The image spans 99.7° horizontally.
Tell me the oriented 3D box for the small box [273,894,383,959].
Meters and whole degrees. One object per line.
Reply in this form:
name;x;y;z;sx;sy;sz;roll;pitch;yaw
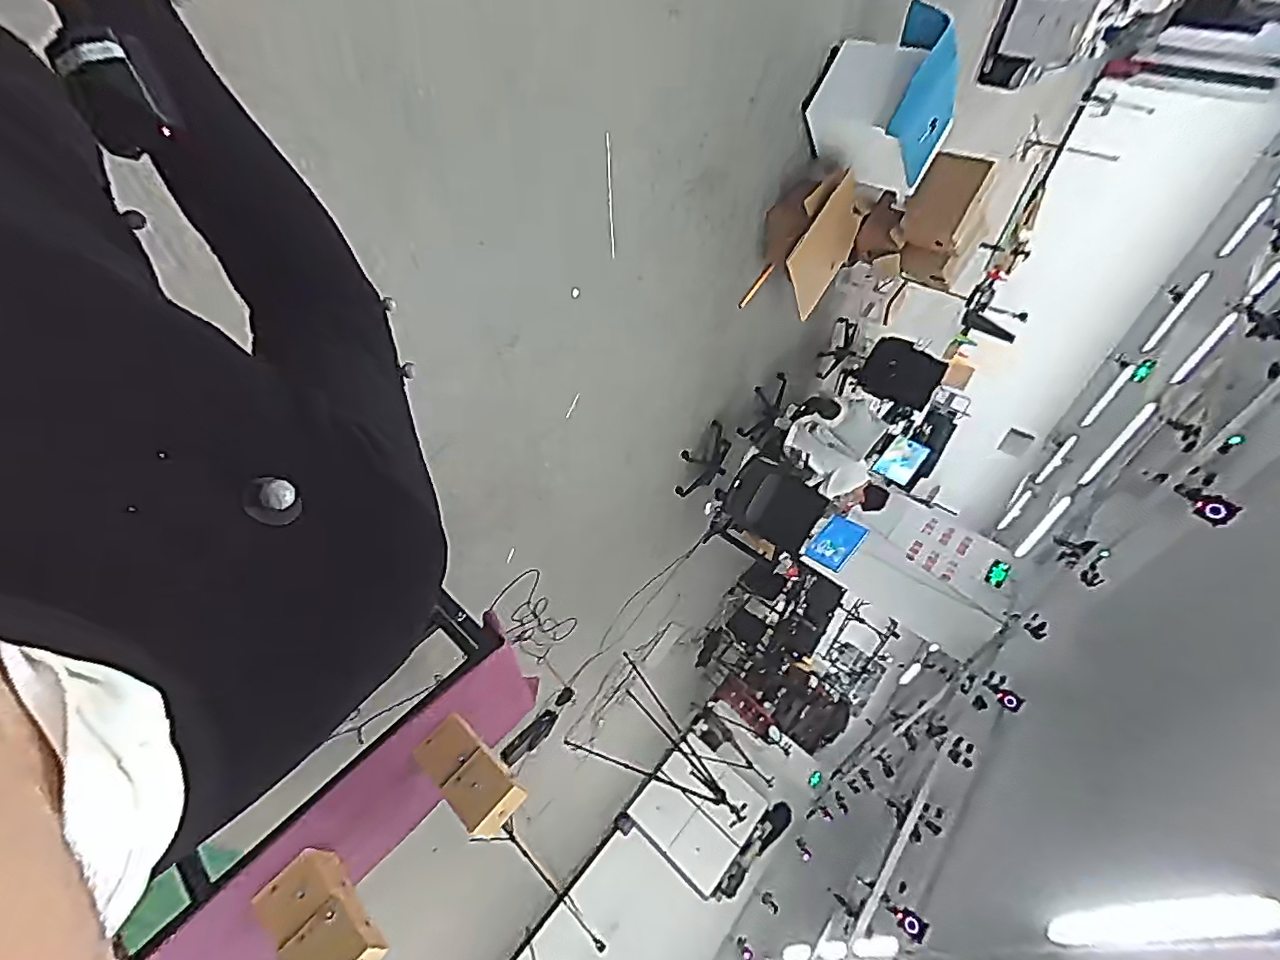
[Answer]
small box;-0.827;1.246;1.436;0.168;0.176;0.179;-40;152;-31

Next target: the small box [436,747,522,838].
small box;-0.498;0.962;1.673;0.168;0.176;0.179;-42;151;-26

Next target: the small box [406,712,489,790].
small box;-0.621;0.889;1.759;0.168;0.176;0.179;-44;152;-25

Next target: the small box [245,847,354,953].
small box;-0.951;1.168;1.512;0.168;0.176;0.179;-42;152;-29
